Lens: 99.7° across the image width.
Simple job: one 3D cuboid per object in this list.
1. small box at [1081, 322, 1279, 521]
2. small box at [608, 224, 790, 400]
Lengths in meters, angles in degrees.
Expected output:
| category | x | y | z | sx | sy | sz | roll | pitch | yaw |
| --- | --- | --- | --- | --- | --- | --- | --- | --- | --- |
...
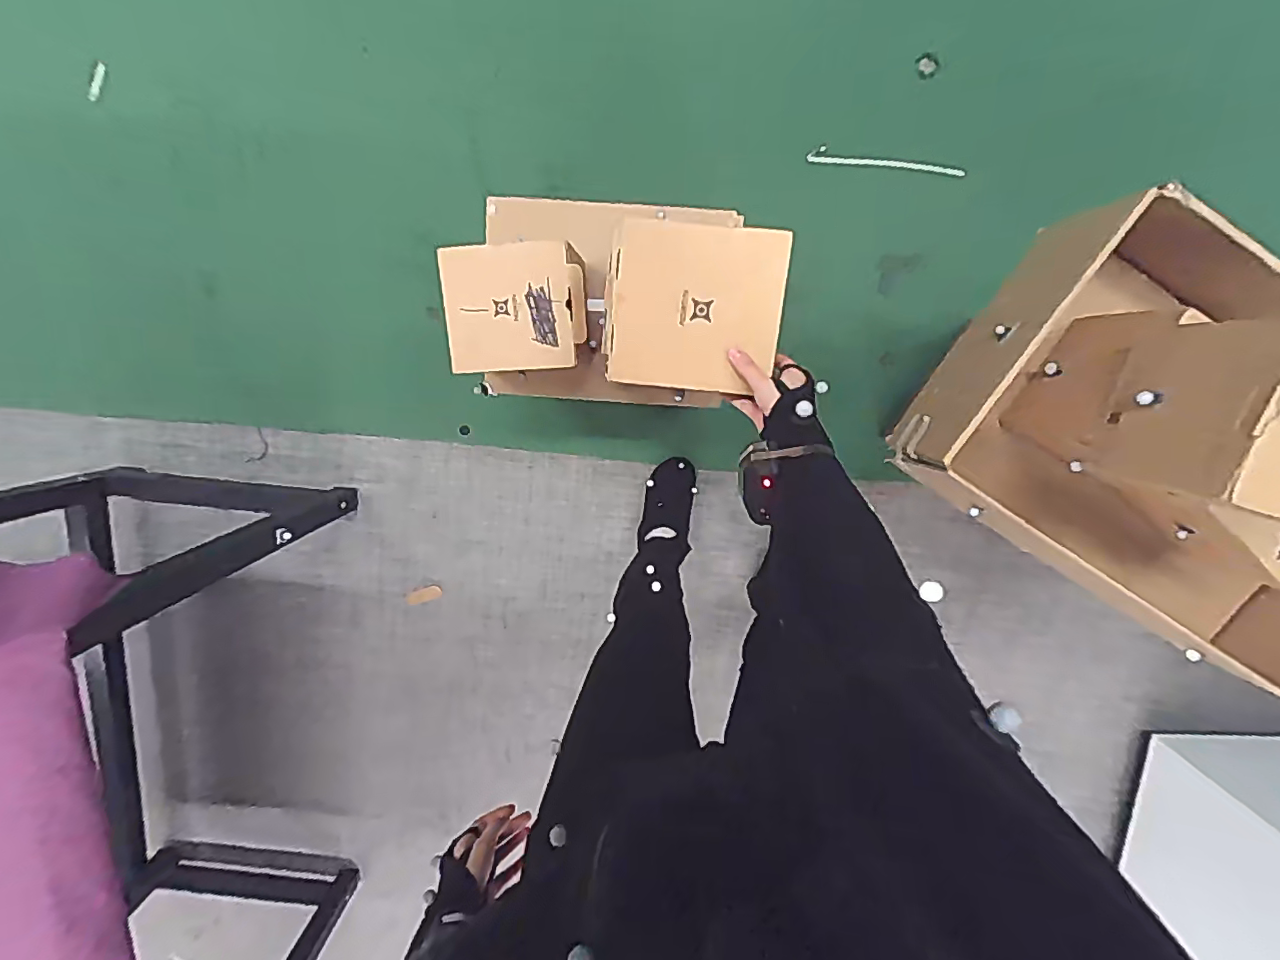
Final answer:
| category | x | y | z | sx | sy | sz | roll | pitch | yaw |
| --- | --- | --- | --- | --- | --- | --- | --- | --- | --- |
| small box | 0.612 | -0.055 | 0.540 | 0.179 | 0.176 | 0.168 | 15 | 101 | -1 |
| small box | 0.062 | -0.192 | 0.639 | 0.179 | 0.176 | 0.168 | 5 | 105 | 3 |
